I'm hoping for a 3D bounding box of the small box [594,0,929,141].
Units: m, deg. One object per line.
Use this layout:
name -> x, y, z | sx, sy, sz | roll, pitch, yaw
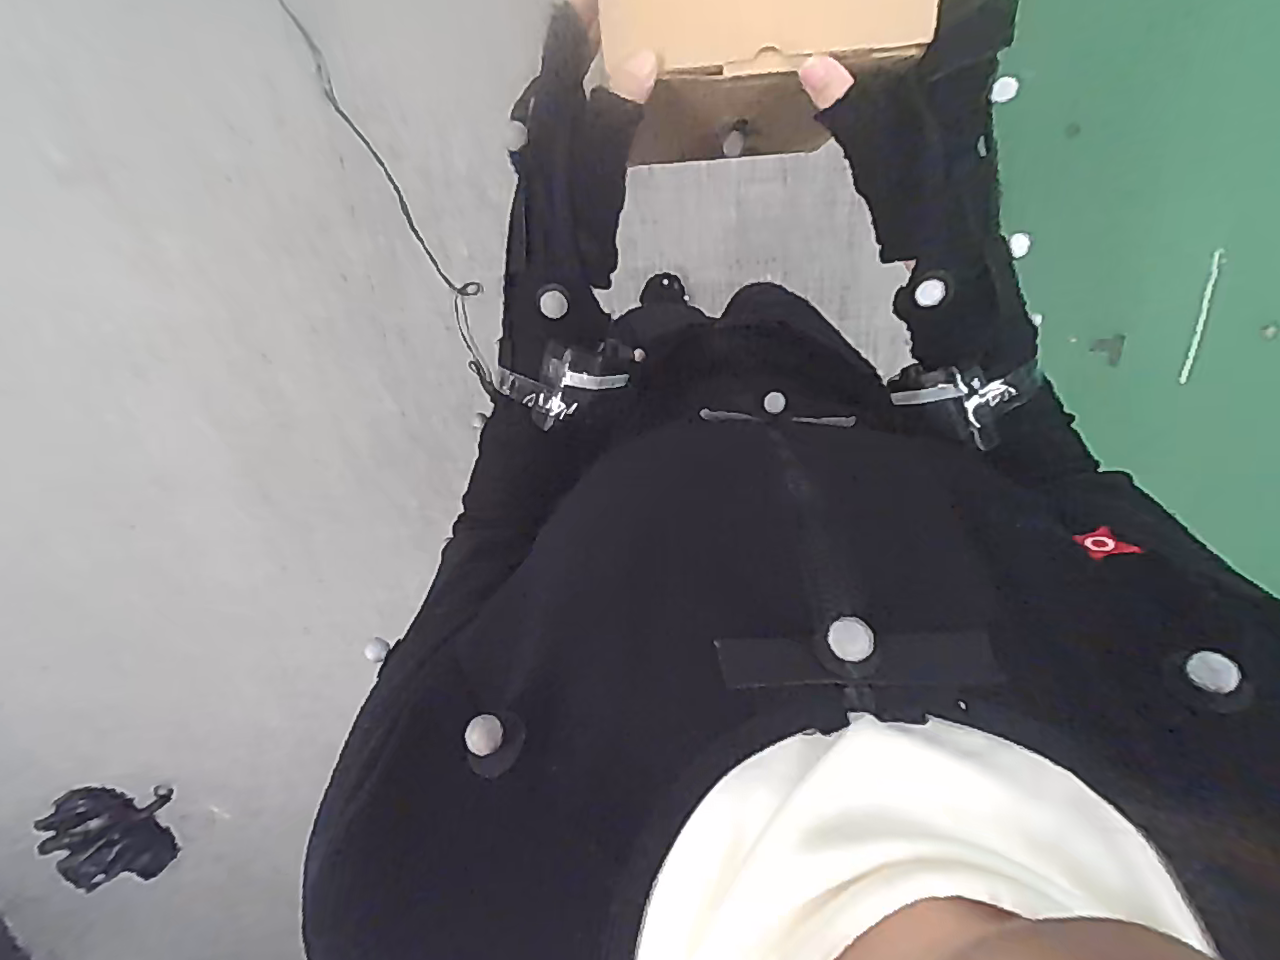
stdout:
small box -> 0.055, -0.318, 0.319 | 0.168, 0.176, 0.179 | -5, 108, 0
